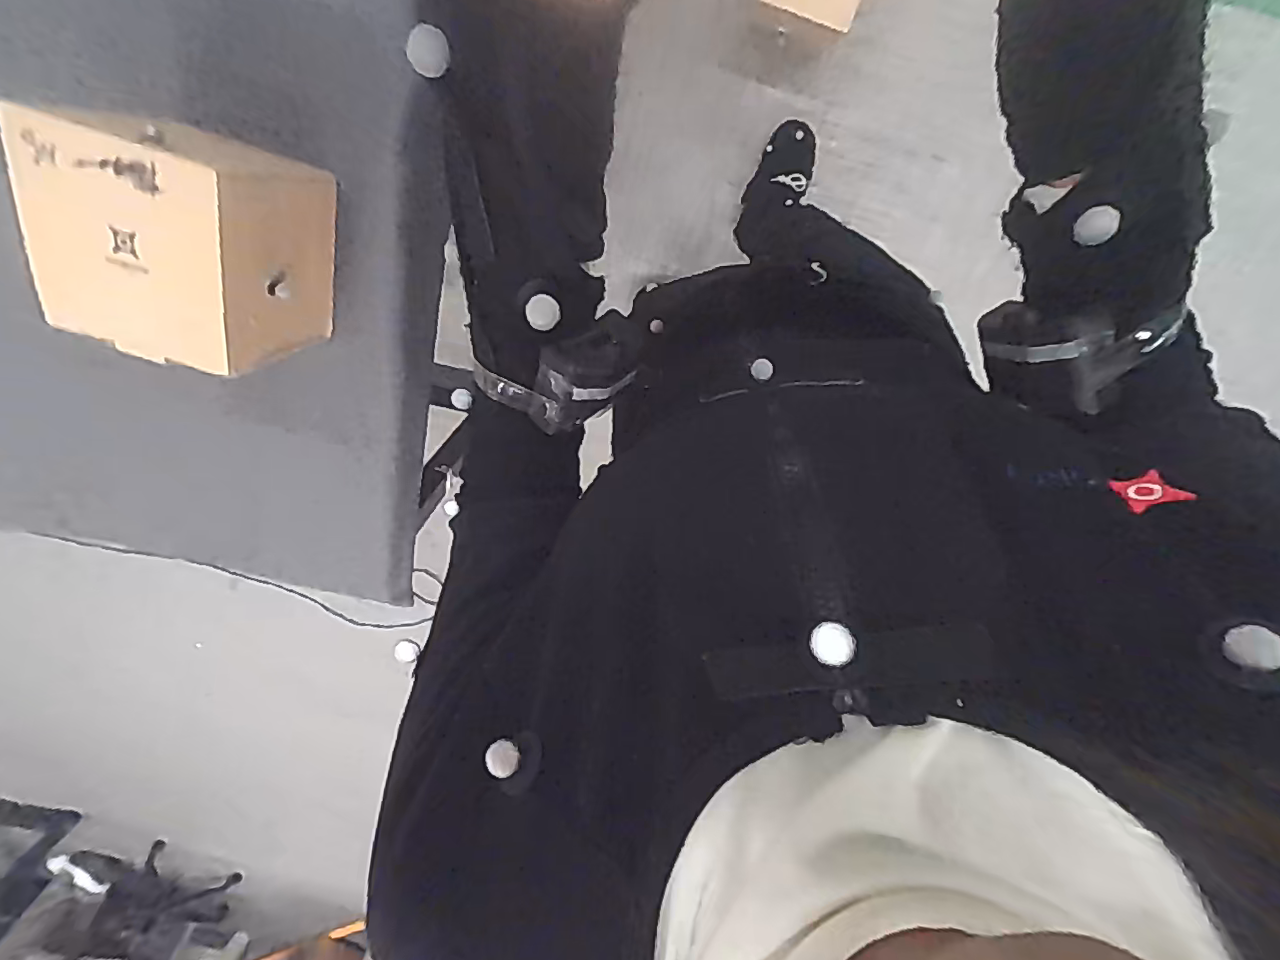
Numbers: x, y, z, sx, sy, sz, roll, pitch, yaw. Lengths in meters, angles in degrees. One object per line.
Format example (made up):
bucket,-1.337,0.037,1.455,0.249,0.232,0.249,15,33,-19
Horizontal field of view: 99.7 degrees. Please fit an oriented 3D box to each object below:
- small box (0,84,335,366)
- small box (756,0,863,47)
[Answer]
small box,-0.419,-0.238,0.518,0.168,0.176,0.179,18,119,-5
small box,0.312,-0.897,0.939,0.168,0.176,0.179,17,120,-5
